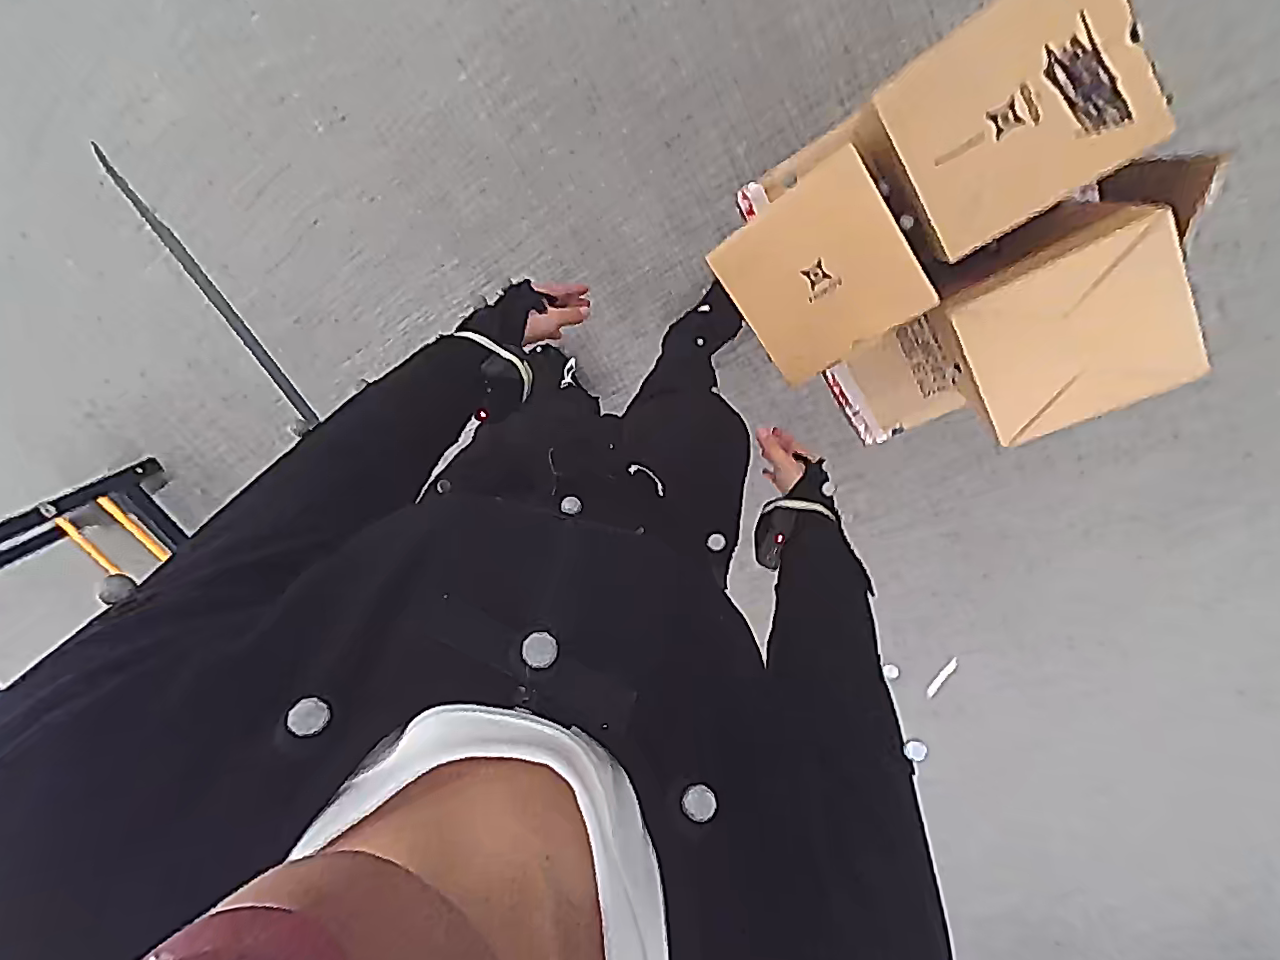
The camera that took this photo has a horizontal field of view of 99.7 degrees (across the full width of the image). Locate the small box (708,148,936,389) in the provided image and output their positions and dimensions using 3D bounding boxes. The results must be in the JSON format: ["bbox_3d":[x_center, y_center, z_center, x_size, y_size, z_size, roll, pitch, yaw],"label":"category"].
[{"bbox_3d":[0.201,-0.237,0.617,0.168,0.176,0.179,-30,106,29],"label":"small box"}]

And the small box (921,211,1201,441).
[{"bbox_3d":[0.430,-0.164,0.584,0.179,0.176,0.168,-25,111,26],"label":"small box"}]
